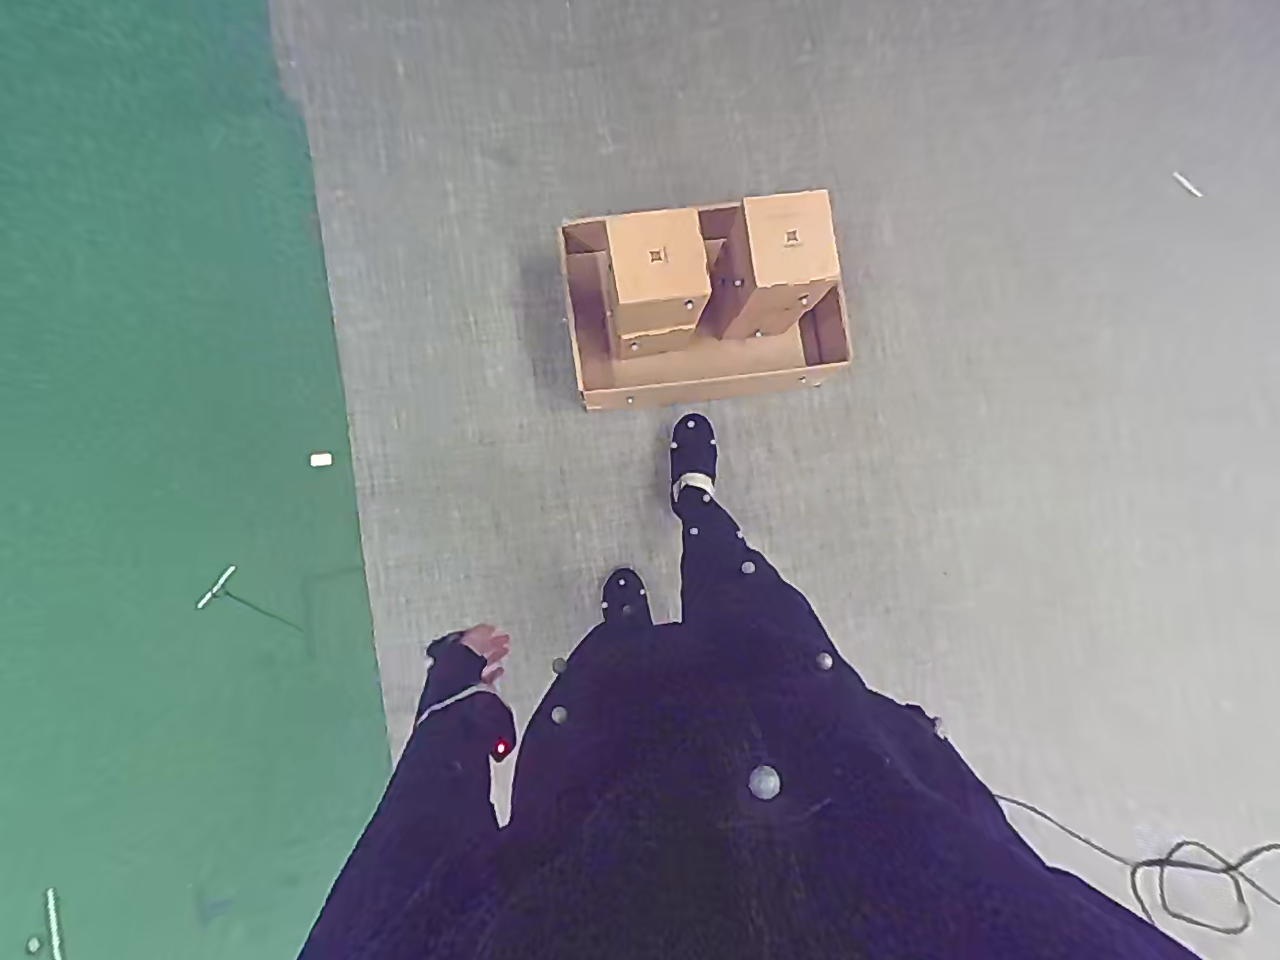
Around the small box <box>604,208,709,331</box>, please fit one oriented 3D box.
[{"bbox_3d":[0.027,-0.411,1.083,0.179,0.176,0.168,-9,87,-4],"label":"small box"}]

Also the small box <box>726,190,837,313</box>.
[{"bbox_3d":[0.279,-0.451,1.097,0.168,0.176,0.179,-7,87,-3],"label":"small box"}]
